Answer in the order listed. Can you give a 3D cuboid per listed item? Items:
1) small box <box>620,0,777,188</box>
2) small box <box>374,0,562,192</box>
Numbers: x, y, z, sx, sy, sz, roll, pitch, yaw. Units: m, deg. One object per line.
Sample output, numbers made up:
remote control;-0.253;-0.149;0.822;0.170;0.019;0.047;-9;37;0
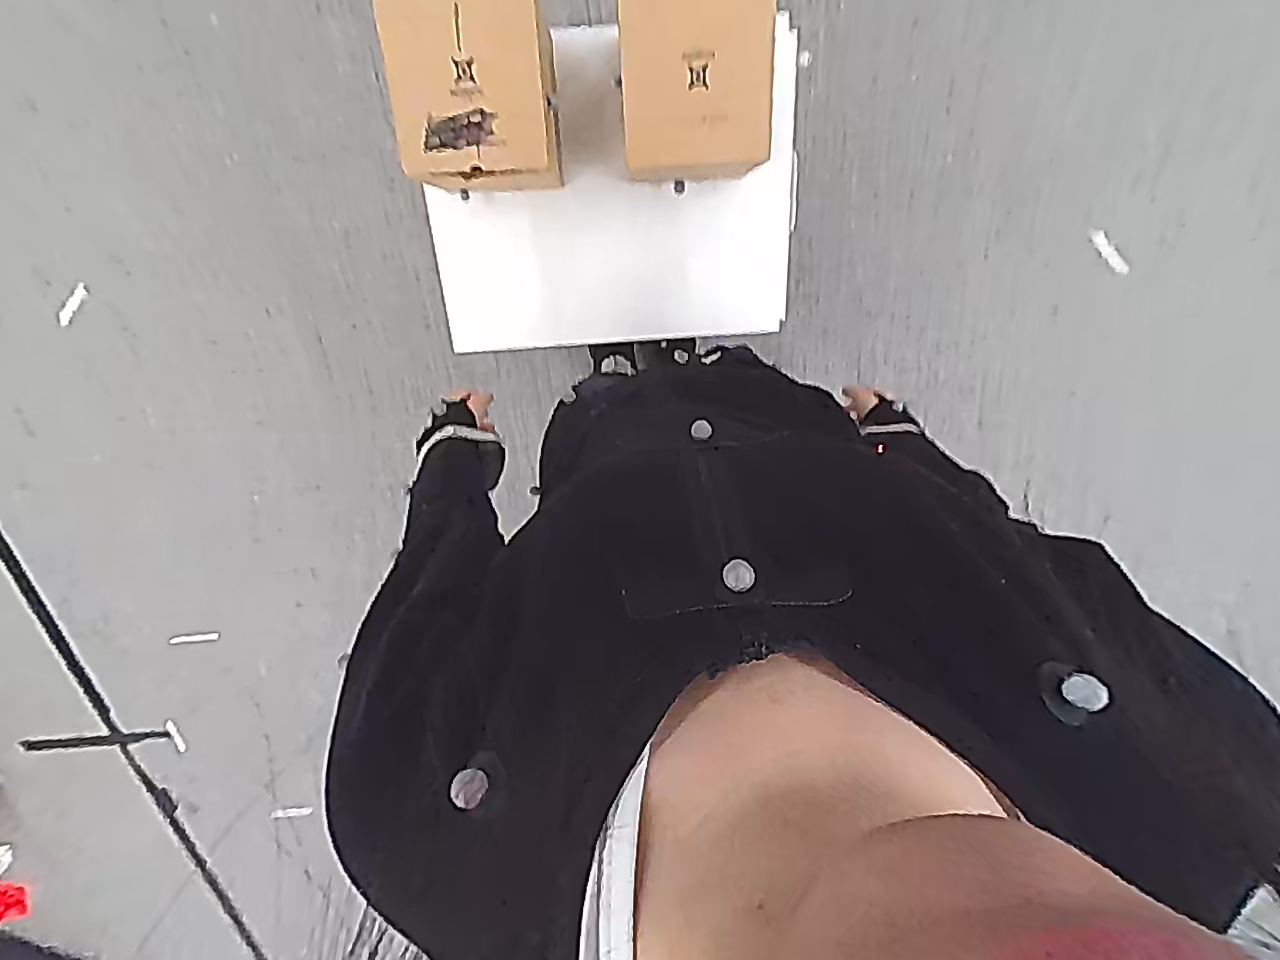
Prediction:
small box;0.061;-0.465;0.654;0.168;0.176;0.179;-3;113;1
small box;-0.188;-0.452;0.649;0.168;0.176;0.179;-3;111;-1
